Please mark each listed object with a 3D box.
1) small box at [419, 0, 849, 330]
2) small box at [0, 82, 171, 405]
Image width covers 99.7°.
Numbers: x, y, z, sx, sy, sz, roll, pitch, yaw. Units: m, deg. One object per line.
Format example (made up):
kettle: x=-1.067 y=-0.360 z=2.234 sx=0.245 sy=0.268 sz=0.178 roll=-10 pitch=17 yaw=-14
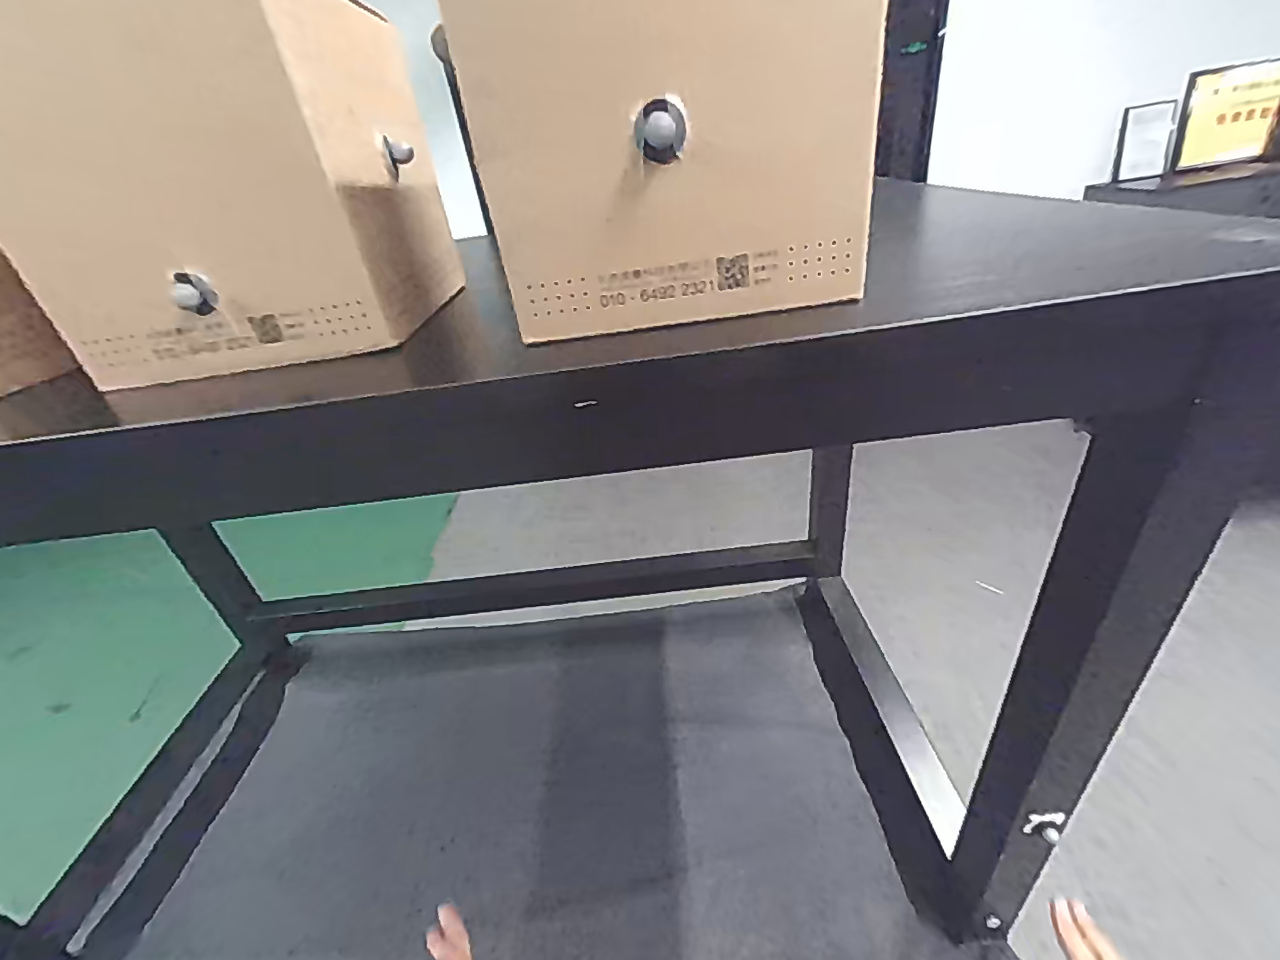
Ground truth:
small box: x=0.007 y=-0.186 z=0.293 sx=0.168 sy=0.176 sz=0.179 roll=-6 pitch=31 yaw=4
small box: x=-0.463 y=-0.136 z=0.337 sx=0.168 sy=0.176 sz=0.179 roll=-7 pitch=31 yaw=4
